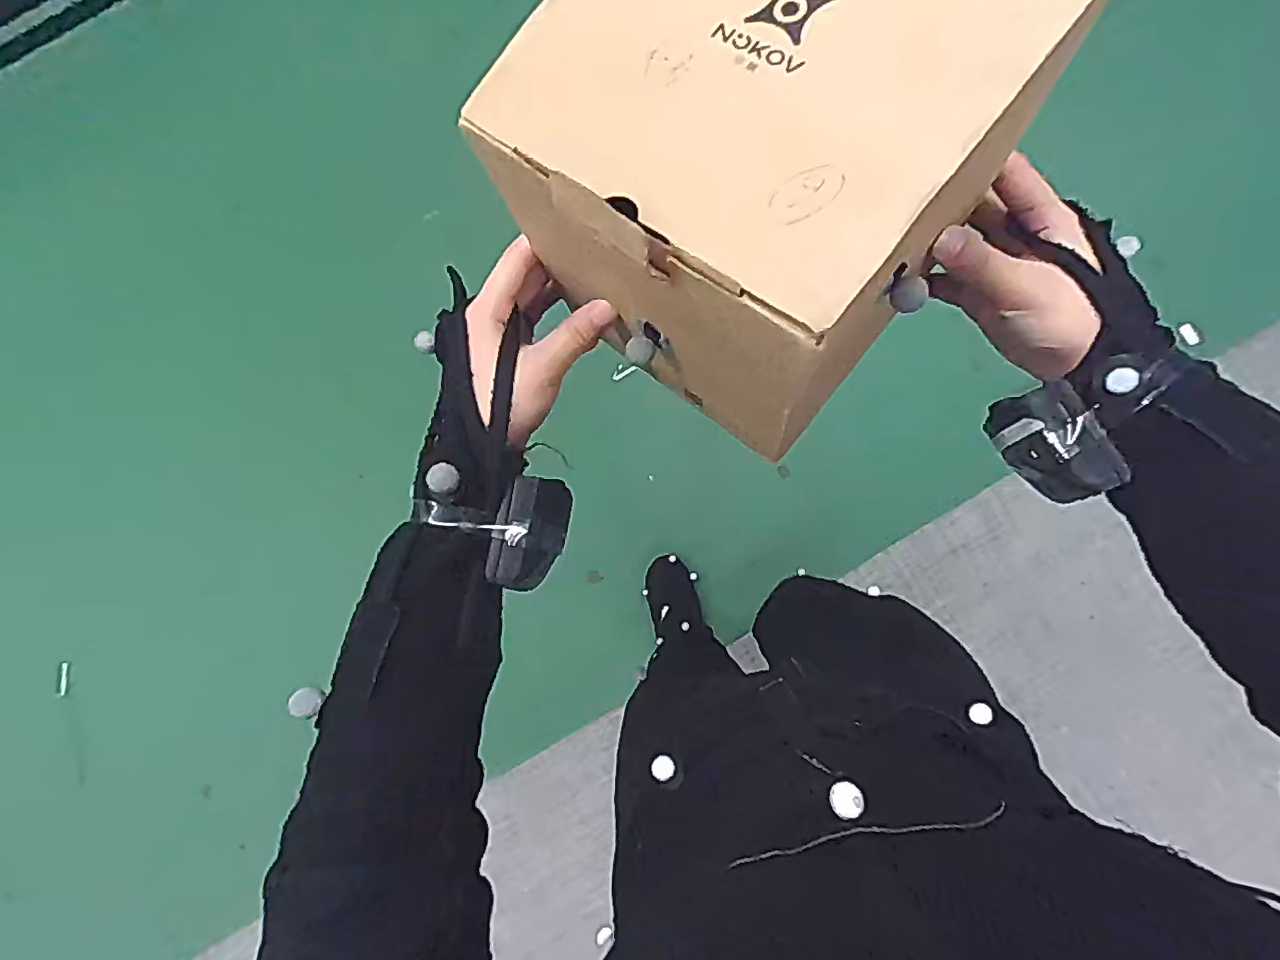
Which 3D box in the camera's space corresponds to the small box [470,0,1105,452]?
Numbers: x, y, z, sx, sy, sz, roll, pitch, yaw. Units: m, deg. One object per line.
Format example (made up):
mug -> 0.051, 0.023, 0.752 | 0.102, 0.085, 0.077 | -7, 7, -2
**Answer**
small box -> 0.060, -0.137, 0.272 | 0.168, 0.176, 0.179 | 39, 88, 14
